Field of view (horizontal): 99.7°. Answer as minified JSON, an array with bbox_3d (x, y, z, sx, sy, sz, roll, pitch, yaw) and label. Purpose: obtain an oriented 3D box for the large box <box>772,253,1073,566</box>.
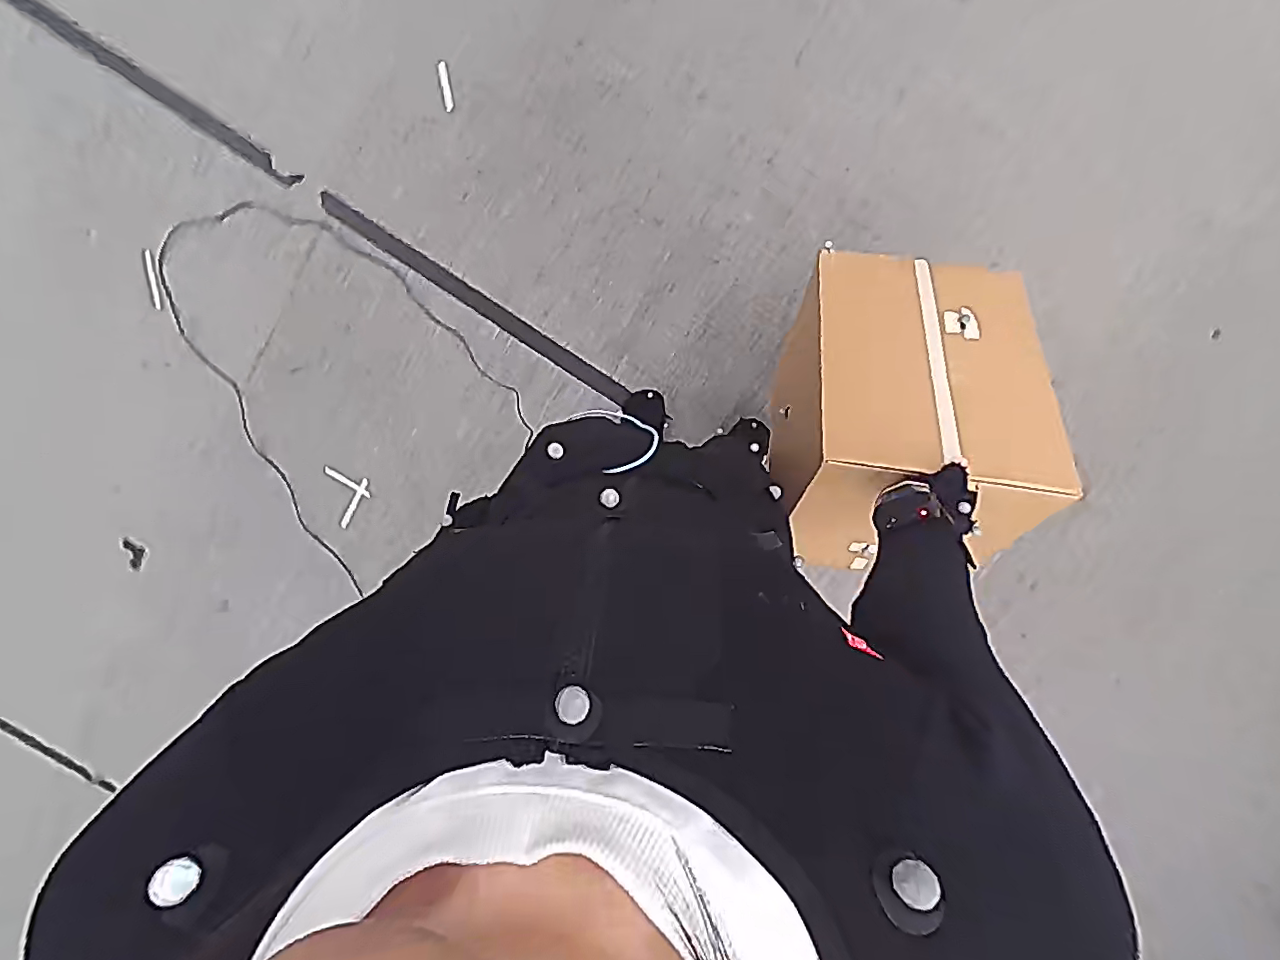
[{"bbox_3d":[0.407,-0.107,0.901,0.320,0.320,0.408,8,60,1],"label":"large box"}]
